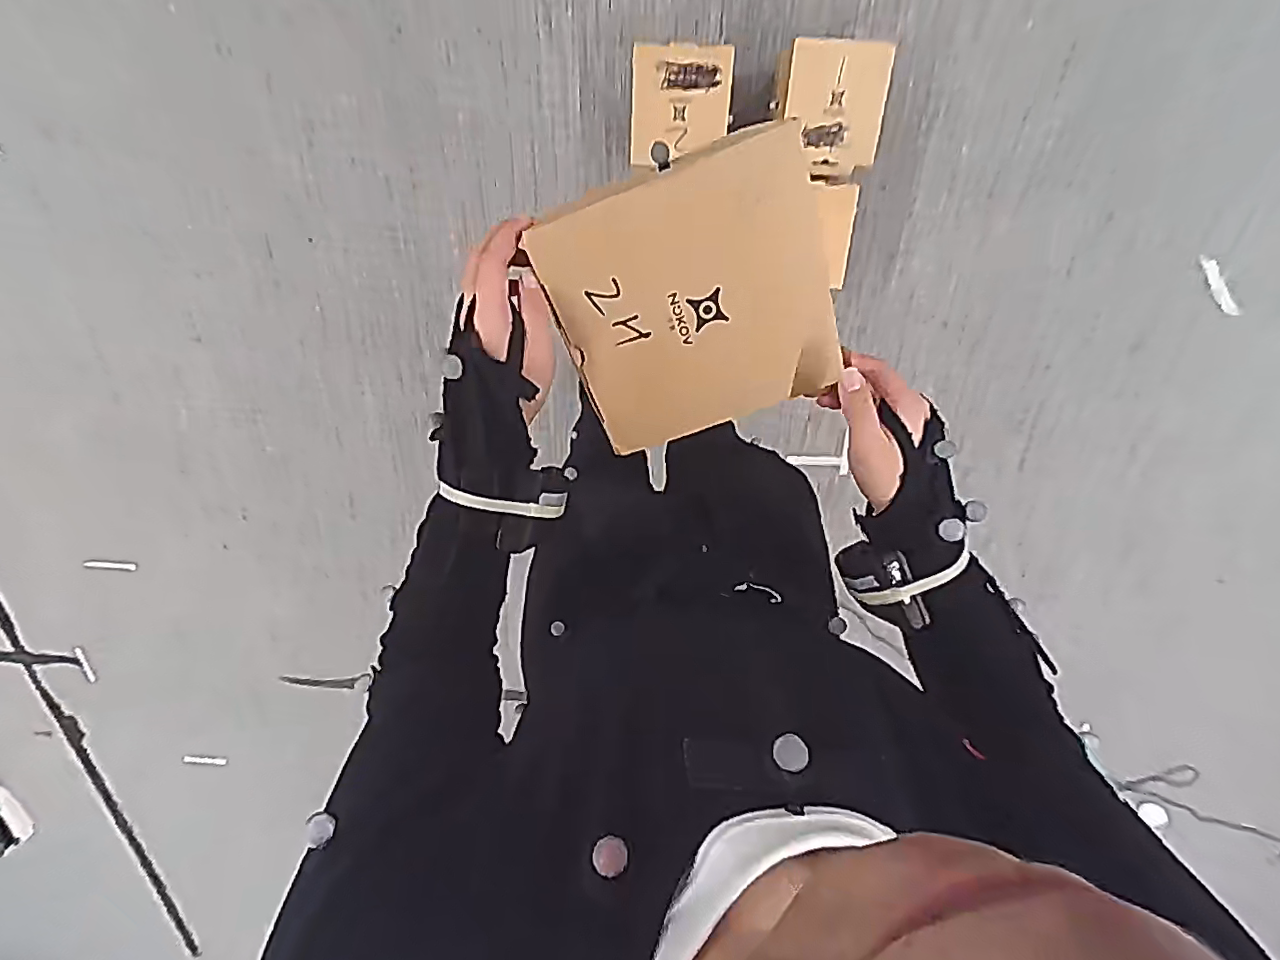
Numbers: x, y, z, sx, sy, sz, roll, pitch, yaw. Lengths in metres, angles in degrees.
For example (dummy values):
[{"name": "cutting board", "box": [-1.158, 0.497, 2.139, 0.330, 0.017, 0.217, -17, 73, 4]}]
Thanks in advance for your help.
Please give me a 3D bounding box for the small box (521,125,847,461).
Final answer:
[{"name": "small box", "box": [0.032, -0.146, 0.414, 0.179, 0.176, 0.168, -19, 119, 9]}]
